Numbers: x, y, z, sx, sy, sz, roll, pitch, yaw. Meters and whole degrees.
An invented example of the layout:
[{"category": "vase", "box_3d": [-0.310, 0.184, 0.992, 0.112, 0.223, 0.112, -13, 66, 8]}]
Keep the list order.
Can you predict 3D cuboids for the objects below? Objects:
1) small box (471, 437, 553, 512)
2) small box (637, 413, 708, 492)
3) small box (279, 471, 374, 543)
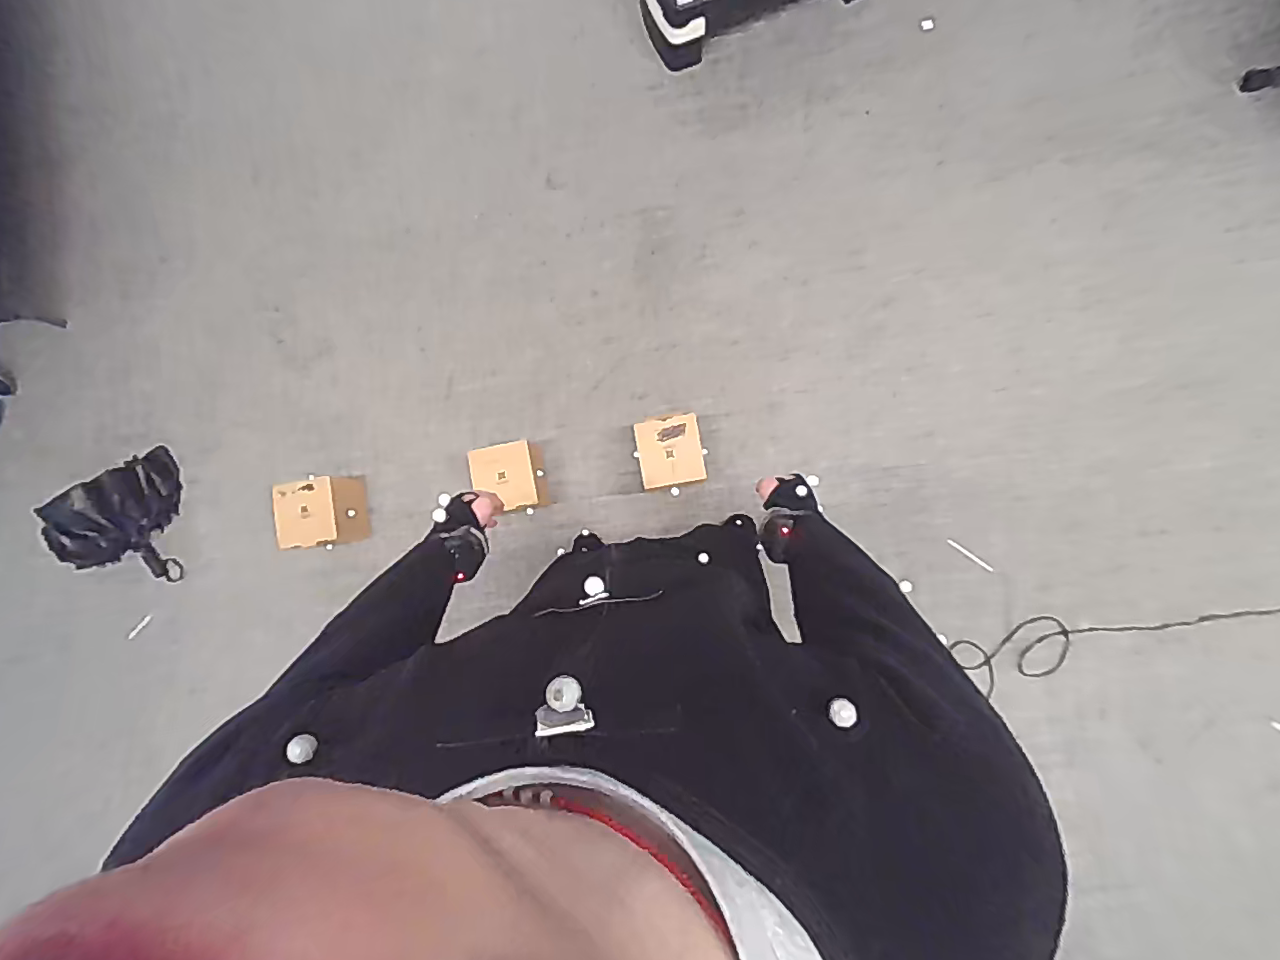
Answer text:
[{"category": "small box", "box_3d": [-0.351, -0.008, 1.508, 0.168, 0.176, 0.179, -12, 83, 2]}, {"category": "small box", "box_3d": [0.090, -0.069, 1.472, 0.168, 0.176, 0.179, -9, 85, 5]}, {"category": "small box", "box_3d": [-0.885, 0.078, 1.543, 0.168, 0.176, 0.179, -10, 85, 3]}]
